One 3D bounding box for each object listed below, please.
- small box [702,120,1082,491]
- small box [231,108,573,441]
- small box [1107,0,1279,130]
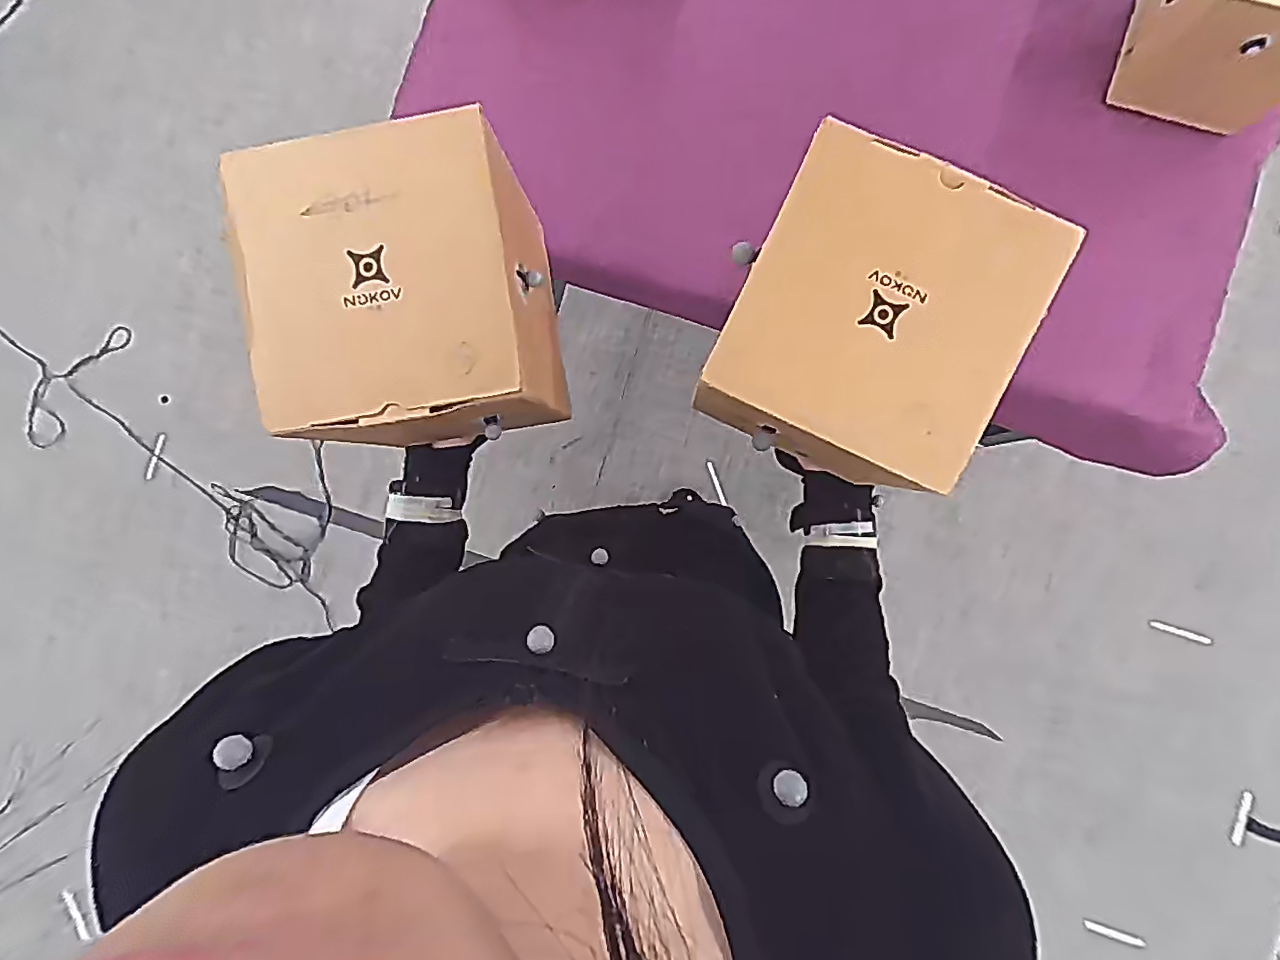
[{"bbox_3d":[0.155,-0.106,0.402,0.168,0.176,0.179,26,92,3],"label":"small box"},{"bbox_3d":[-0.153,-0.126,0.407,0.168,0.176,0.179,-9,90,2],"label":"small box"},{"bbox_3d":[0.753,-0.585,0.680,0.179,0.176,0.168,18,90,2],"label":"small box"}]
